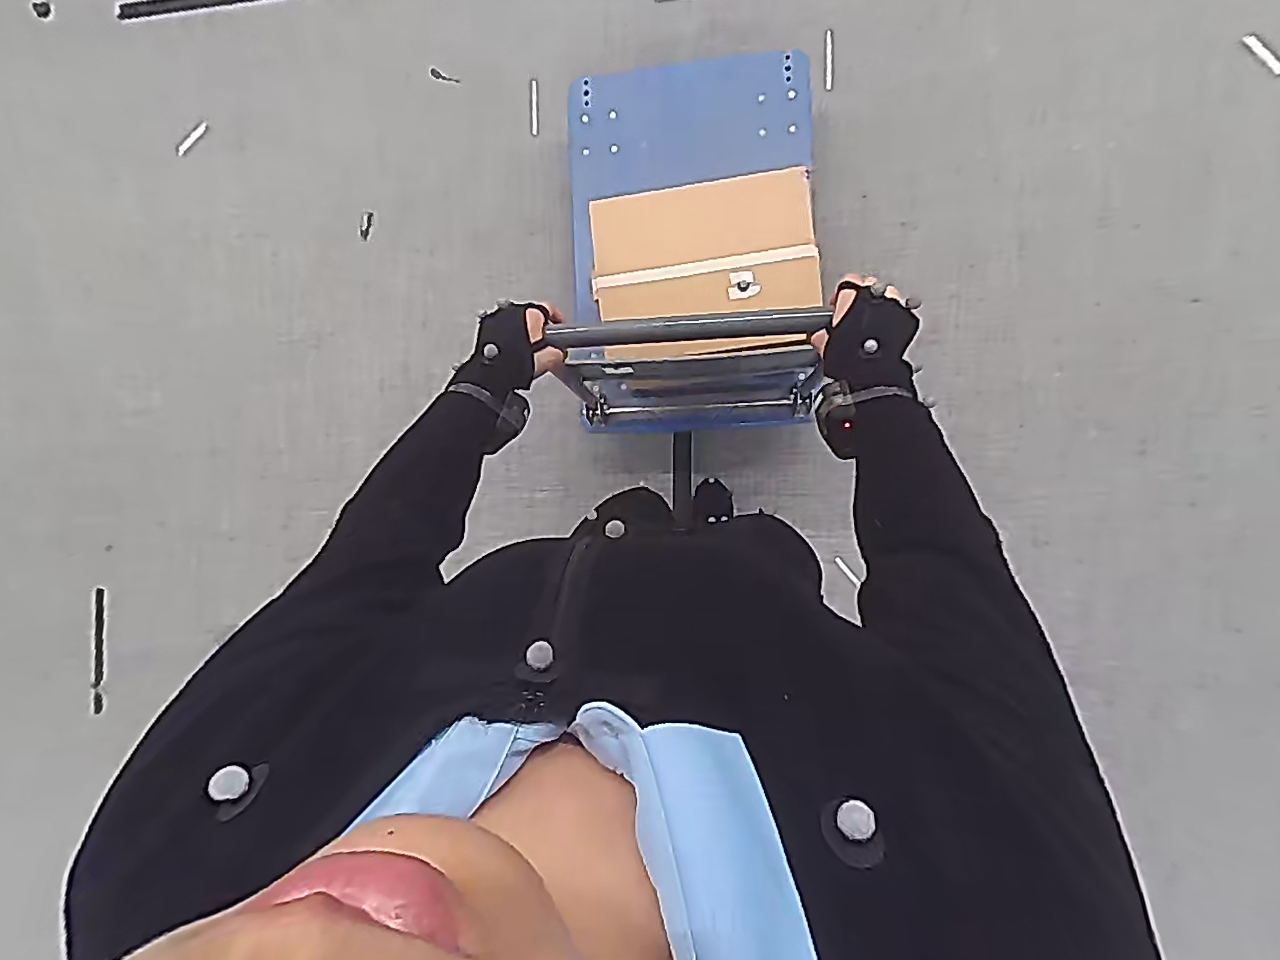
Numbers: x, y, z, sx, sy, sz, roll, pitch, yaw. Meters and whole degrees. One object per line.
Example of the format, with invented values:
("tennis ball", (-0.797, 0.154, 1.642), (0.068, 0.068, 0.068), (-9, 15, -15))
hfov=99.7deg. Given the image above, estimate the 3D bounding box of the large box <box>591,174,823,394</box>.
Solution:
("large box", (0.133, -0.385, 1.152), (0.408, 0.320, 0.320), (-6, 90, 5))
